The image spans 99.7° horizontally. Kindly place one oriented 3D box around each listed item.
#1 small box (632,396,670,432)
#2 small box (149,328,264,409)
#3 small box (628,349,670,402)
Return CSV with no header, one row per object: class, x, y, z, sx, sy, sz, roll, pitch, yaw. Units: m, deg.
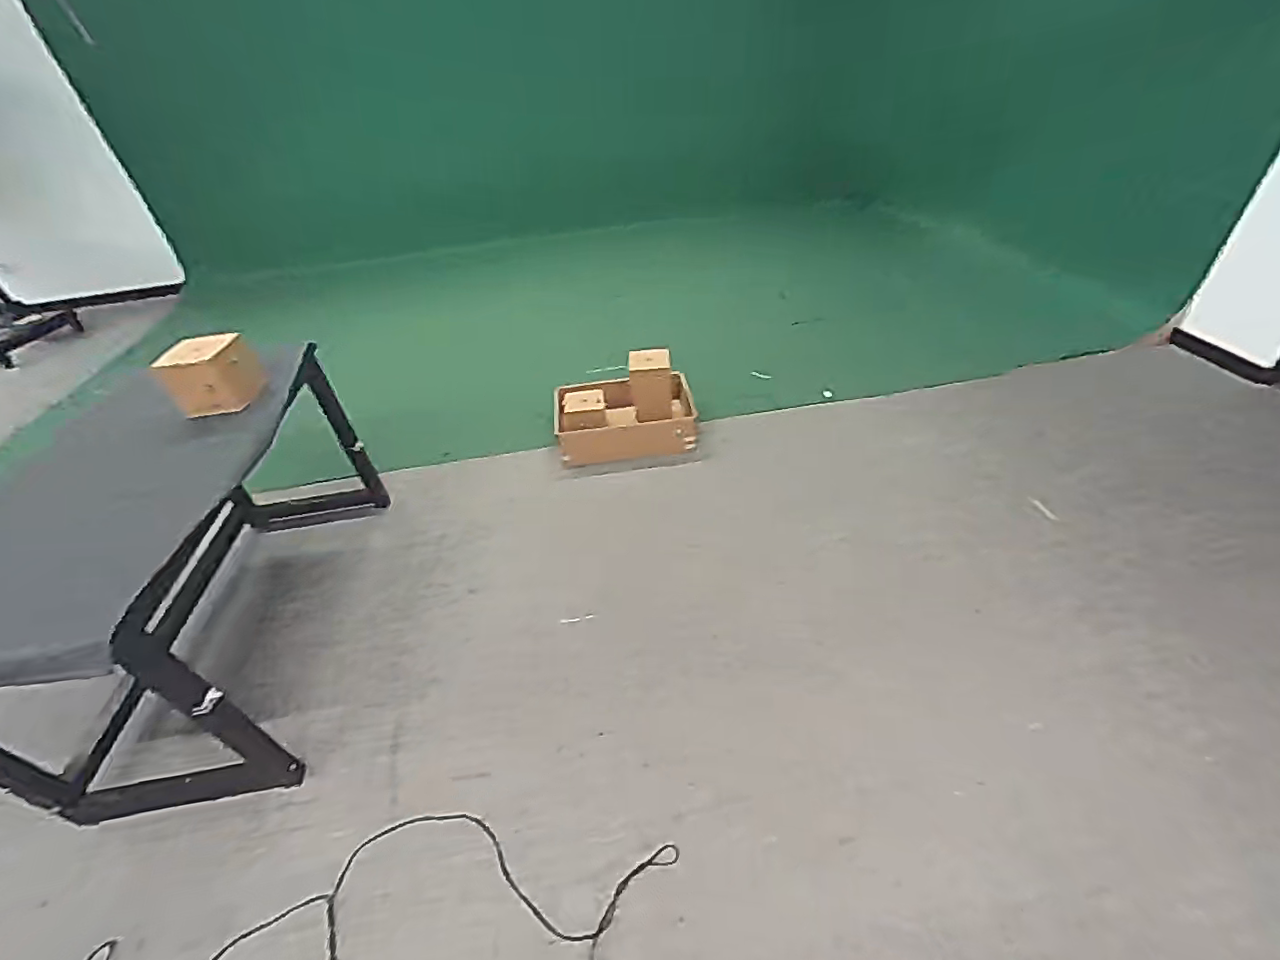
small box,0.054,-0.339,2.495,0.168,0.176,0.179,-3,43,3
small box,-1.238,-0.318,1.565,0.168,0.176,0.179,-6,40,-1
small box,0.042,-0.459,2.383,0.179,0.176,0.168,-3,41,4
